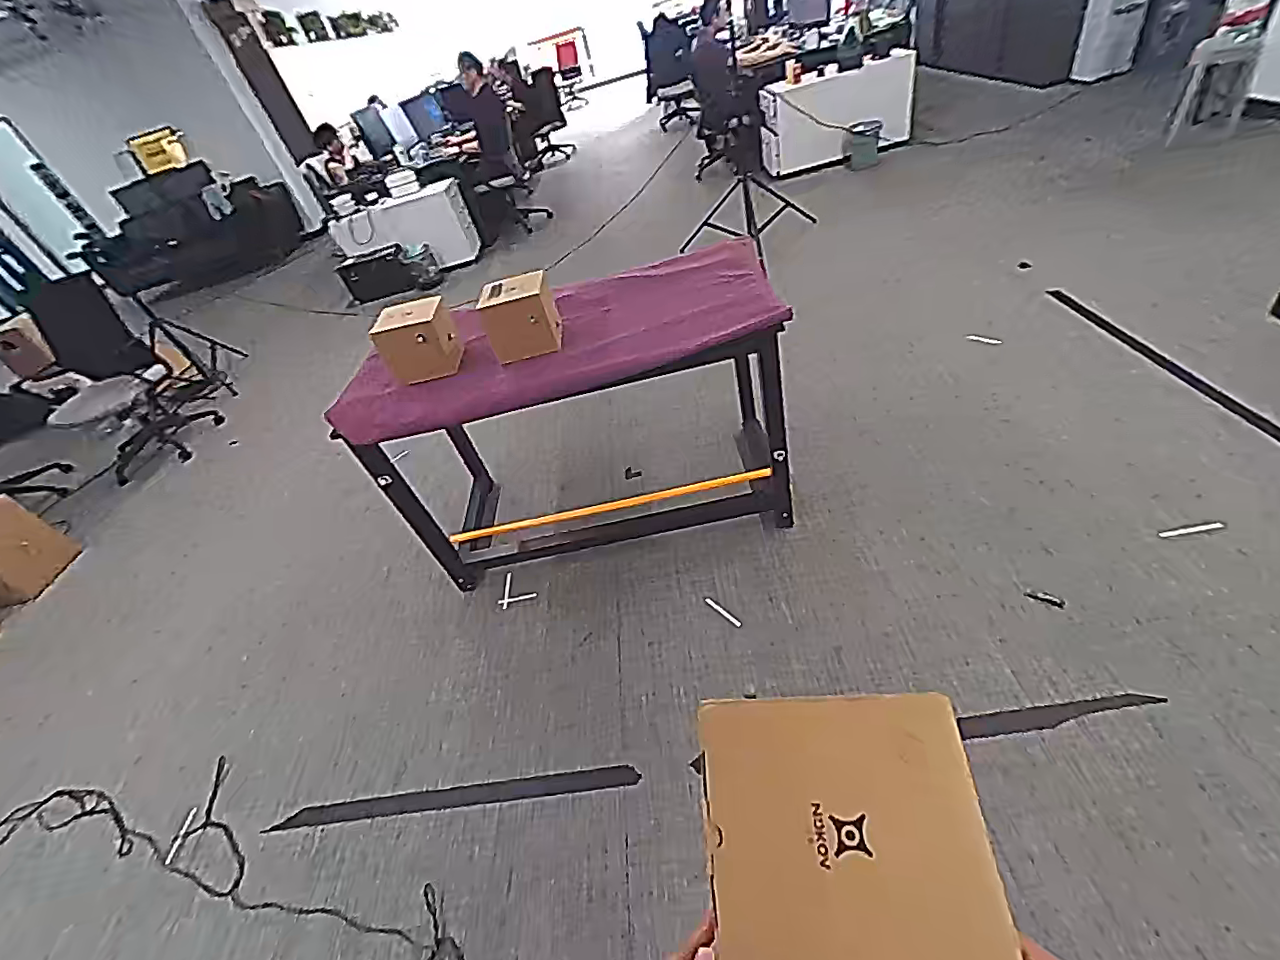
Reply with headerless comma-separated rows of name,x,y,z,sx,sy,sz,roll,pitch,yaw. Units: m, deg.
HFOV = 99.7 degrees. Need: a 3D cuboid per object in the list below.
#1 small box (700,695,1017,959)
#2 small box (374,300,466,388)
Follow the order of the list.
small box,0.143,0.266,0.421,0.179,0.176,0.168,-6,61,8
small box,-0.616,-0.385,1.543,0.179,0.176,0.168,-12,40,3
